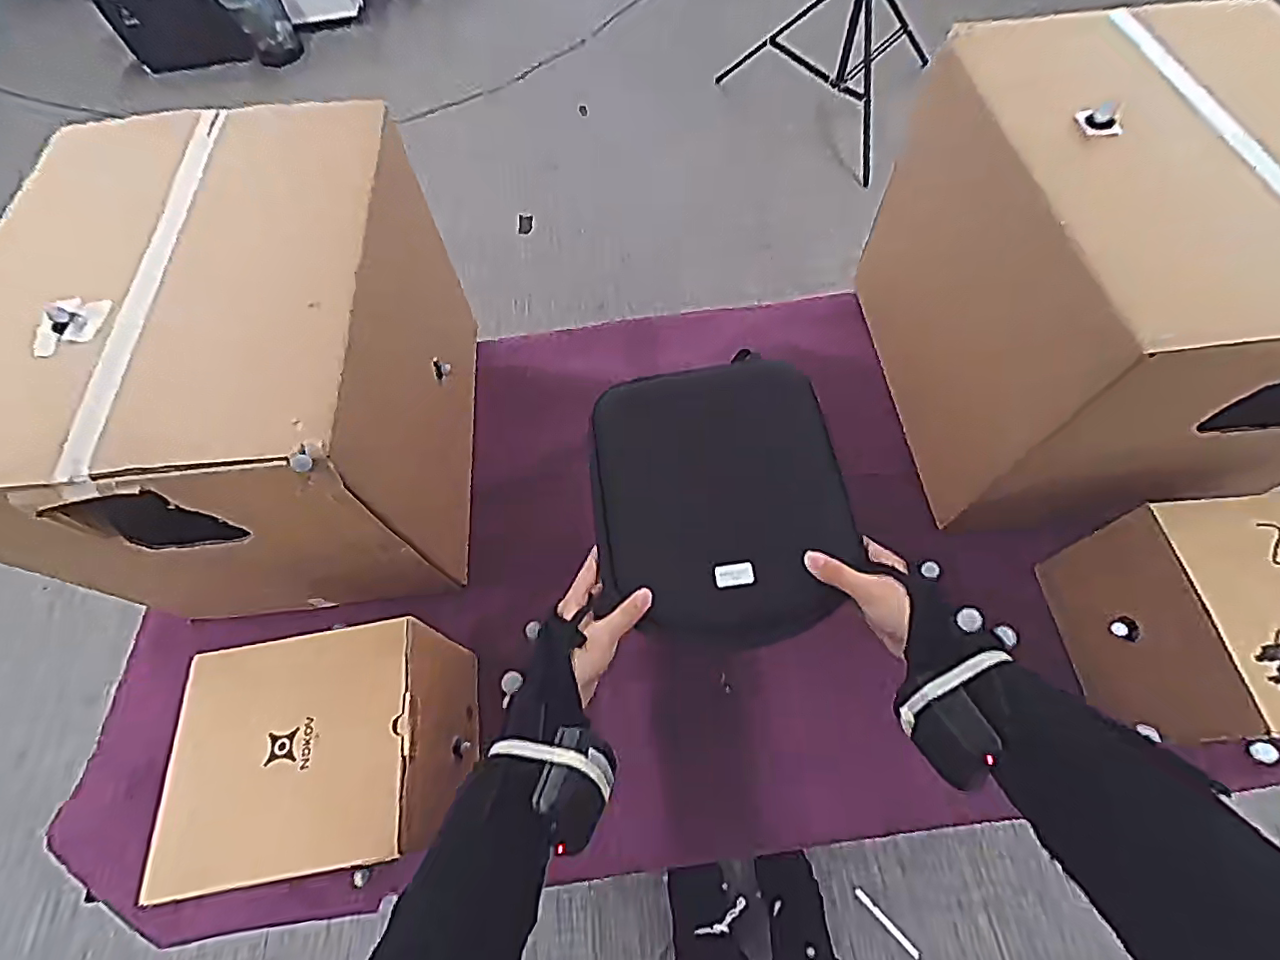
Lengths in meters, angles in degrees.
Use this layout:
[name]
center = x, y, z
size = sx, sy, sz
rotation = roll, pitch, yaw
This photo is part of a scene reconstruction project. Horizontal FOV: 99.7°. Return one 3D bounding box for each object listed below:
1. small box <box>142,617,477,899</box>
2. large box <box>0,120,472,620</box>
[small box]
center = -0.256, 0.236, 0.471
size = 0.179, 0.176, 0.168
rotation = -10, 61, -3
[large box]
center = -0.372, -0.098, 0.574
size = 0.320, 0.320, 0.408
rotation = -7, 64, -2
